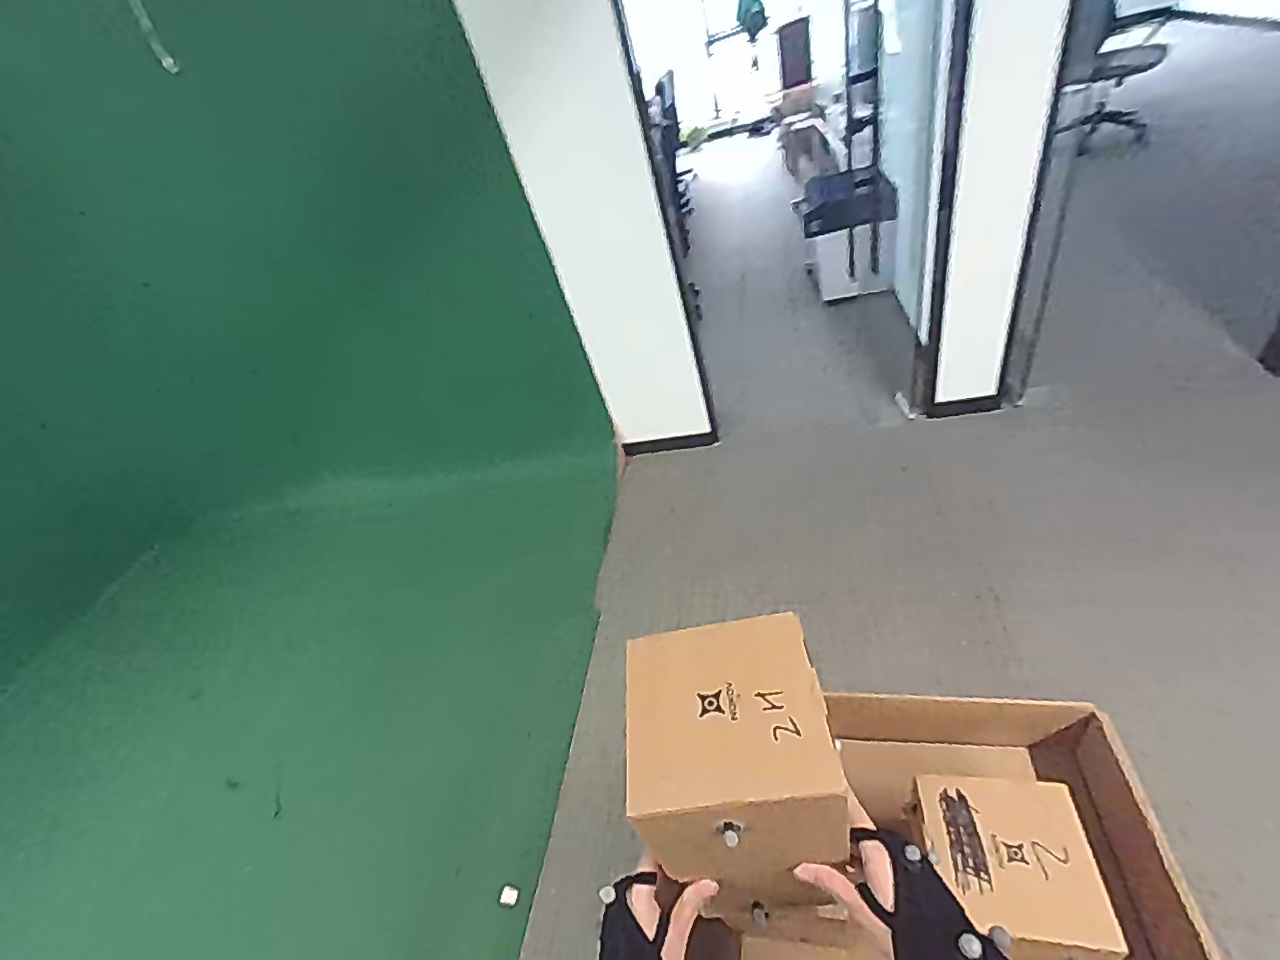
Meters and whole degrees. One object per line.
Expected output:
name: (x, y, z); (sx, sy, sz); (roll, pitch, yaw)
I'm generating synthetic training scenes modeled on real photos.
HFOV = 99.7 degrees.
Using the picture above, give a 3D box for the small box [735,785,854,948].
small box: (0.207, 0.520, 0.765); (0.168, 0.176, 0.179); (-5, 40, 18)

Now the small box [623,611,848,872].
small box: (0.090, 0.256, 0.523); (0.179, 0.176, 0.168); (-12, 39, 8)

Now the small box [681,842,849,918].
small box: (0.131, 0.374, 0.630); (0.168, 0.176, 0.179); (-12, 39, 7)
